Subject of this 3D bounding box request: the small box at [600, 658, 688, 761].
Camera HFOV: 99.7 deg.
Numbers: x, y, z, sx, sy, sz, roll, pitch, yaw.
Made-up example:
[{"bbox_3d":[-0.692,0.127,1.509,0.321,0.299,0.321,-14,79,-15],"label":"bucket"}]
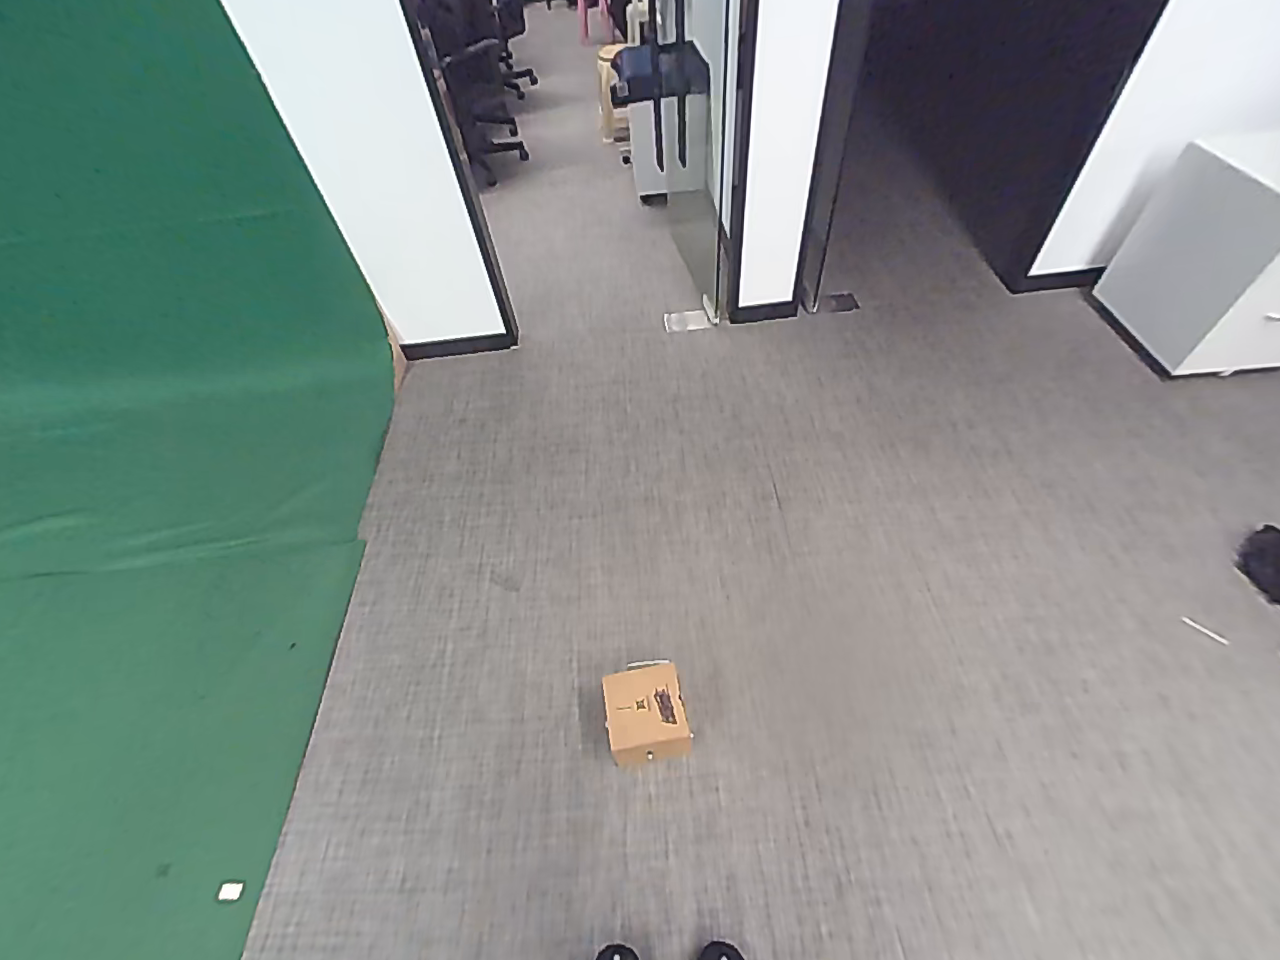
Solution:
[{"bbox_3d":[0.009,0.548,1.284,0.179,0.176,0.168,-12,52,-5],"label":"small box"}]
